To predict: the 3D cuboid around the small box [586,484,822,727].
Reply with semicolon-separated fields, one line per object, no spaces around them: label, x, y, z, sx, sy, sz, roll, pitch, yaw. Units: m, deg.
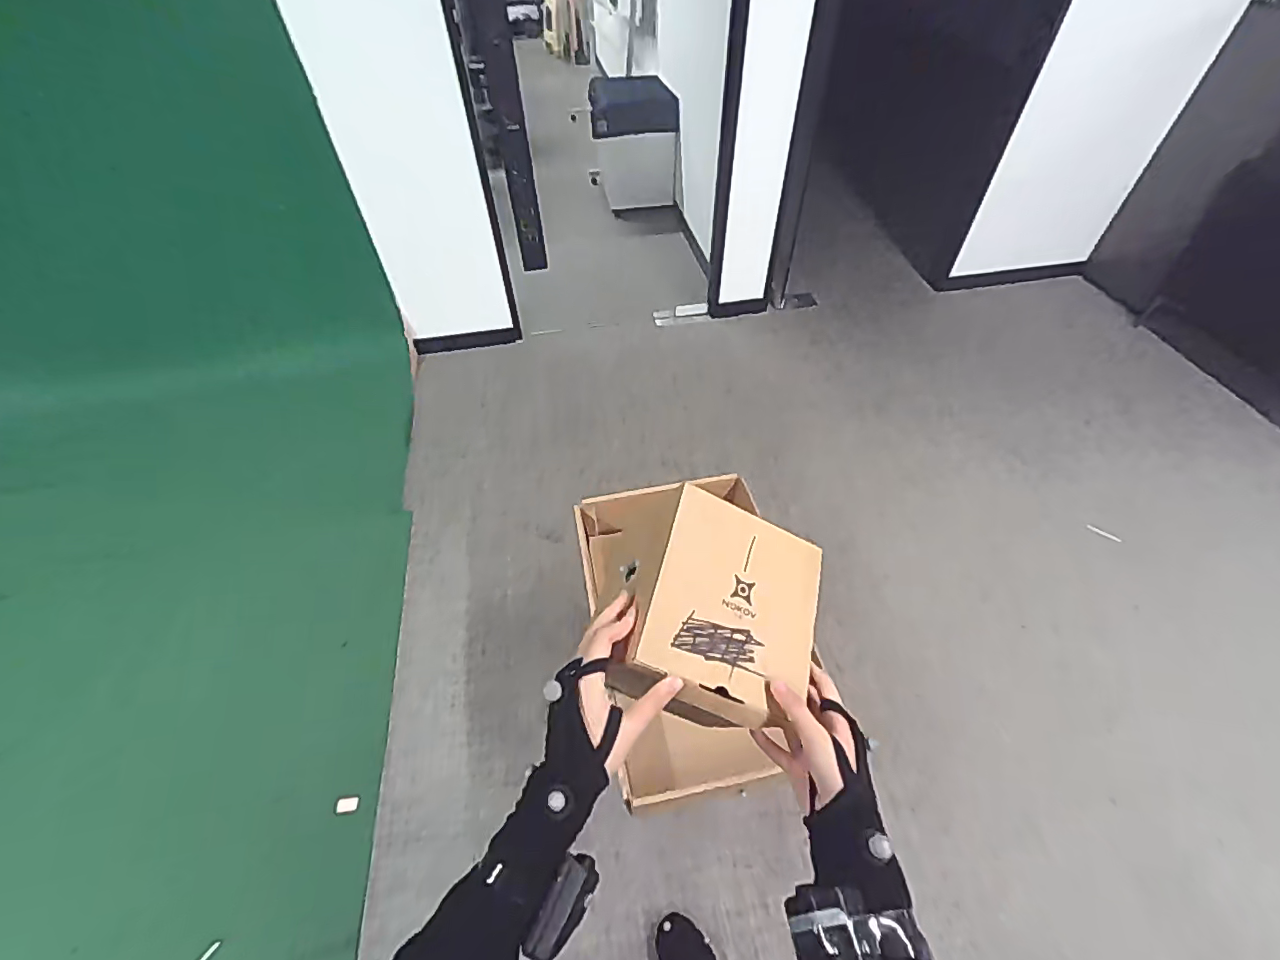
small box;0.058;0.139;0.556;0.168;0.176;0.179;26;58;-12
